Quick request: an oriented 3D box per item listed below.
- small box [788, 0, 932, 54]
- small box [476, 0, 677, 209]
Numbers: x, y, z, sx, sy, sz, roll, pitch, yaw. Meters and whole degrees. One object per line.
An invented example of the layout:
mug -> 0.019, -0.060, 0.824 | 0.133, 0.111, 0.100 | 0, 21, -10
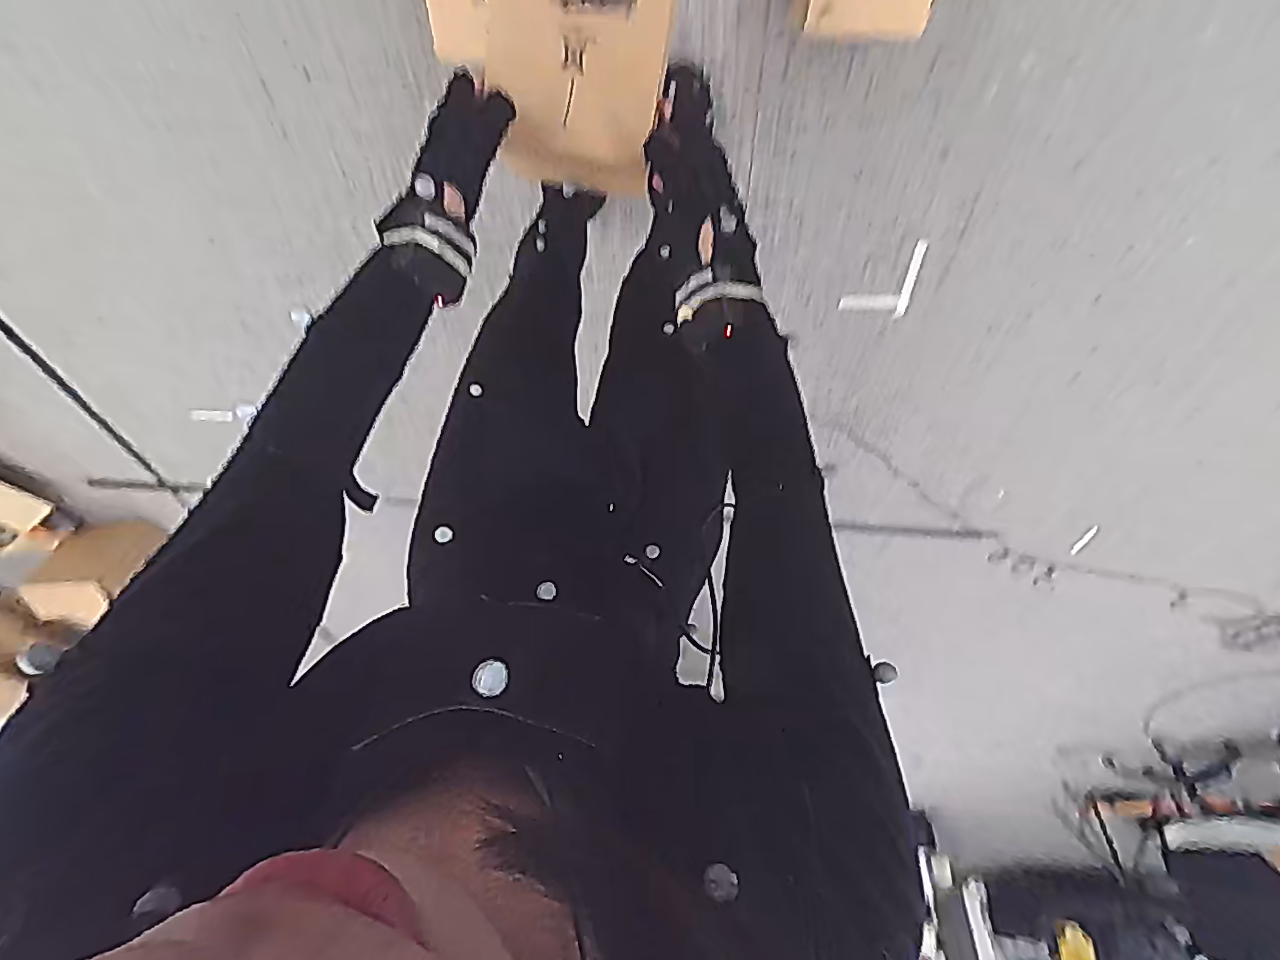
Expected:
small box -> 0.331, -0.755, 0.798 | 0.179, 0.176, 0.168 | 4, 138, 1
small box -> -0.062, -0.411, 0.572 | 0.168, 0.176, 0.179 | 10, 106, -4
